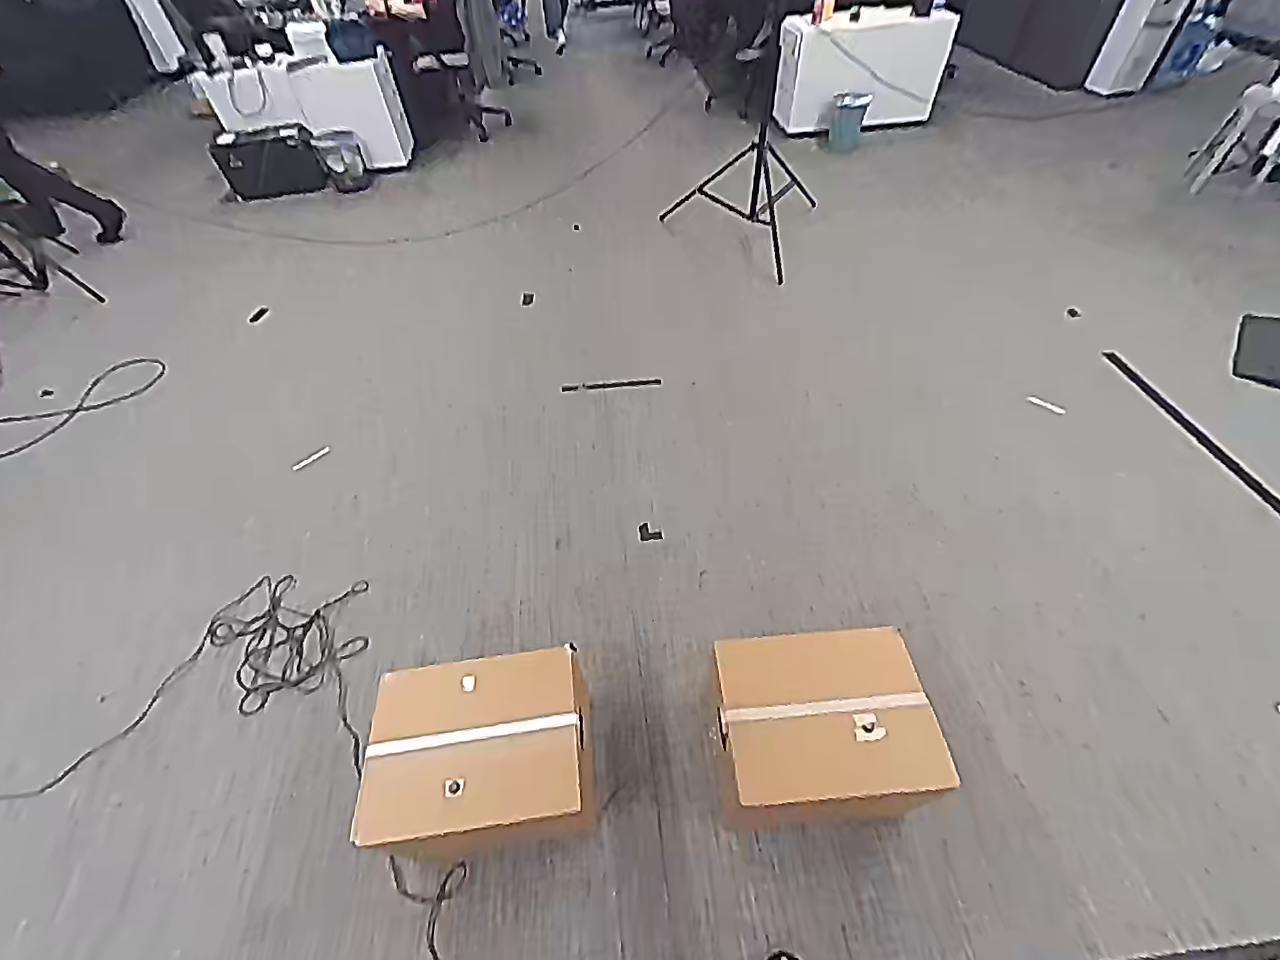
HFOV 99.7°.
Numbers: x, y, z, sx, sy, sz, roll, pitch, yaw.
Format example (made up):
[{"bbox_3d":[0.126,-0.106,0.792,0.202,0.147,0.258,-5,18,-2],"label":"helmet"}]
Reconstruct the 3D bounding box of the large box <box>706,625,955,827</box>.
[{"bbox_3d":[0.374,0.545,1.191,0.408,0.320,0.320,-4,50,-1],"label":"large box"}]
